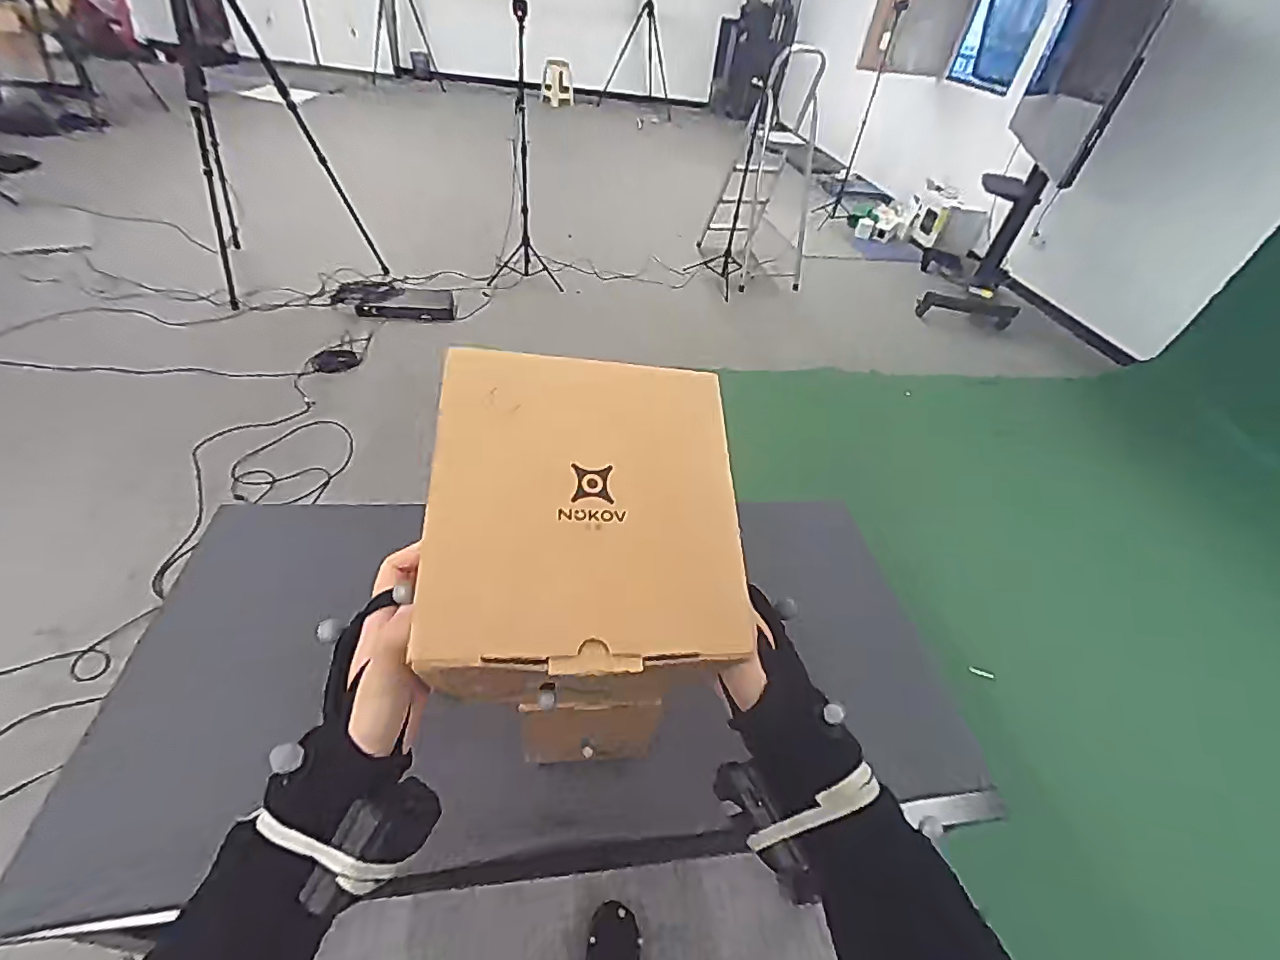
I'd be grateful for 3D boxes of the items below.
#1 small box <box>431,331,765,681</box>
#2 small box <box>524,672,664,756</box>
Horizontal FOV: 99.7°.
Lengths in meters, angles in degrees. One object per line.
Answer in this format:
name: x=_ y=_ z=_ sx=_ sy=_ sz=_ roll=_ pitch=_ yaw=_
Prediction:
small box: x=-0.039 y=0.031 z=0.363 sx=0.168 sy=0.176 sz=0.179 roll=3 pitch=64 yaw=-14
small box: x=-0.069 y=0.252 z=0.738 sx=0.168 sy=0.176 sz=0.179 roll=0 pitch=44 yaw=-9
